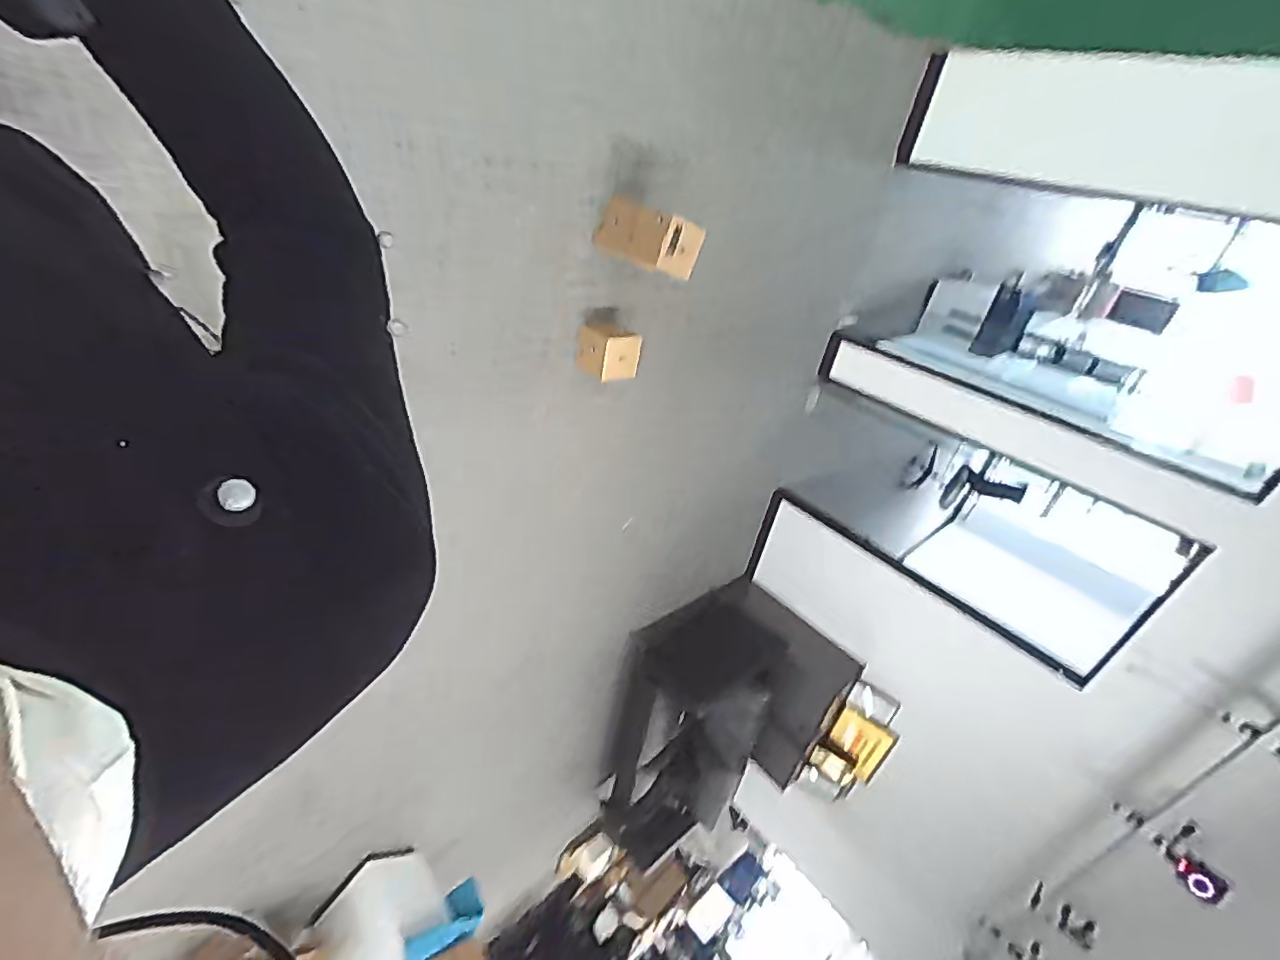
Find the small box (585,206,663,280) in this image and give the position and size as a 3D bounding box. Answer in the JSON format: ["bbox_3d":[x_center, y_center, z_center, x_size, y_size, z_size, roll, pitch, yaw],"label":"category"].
[{"bbox_3d":[-0.061,-0.826,1.875,0.179,0.176,0.168,7,115,-53],"label":"small box"}]

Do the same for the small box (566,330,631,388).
[{"bbox_3d":[-0.165,-0.469,2.076,0.179,0.176,0.168,-17,132,-41],"label":"small box"}]
